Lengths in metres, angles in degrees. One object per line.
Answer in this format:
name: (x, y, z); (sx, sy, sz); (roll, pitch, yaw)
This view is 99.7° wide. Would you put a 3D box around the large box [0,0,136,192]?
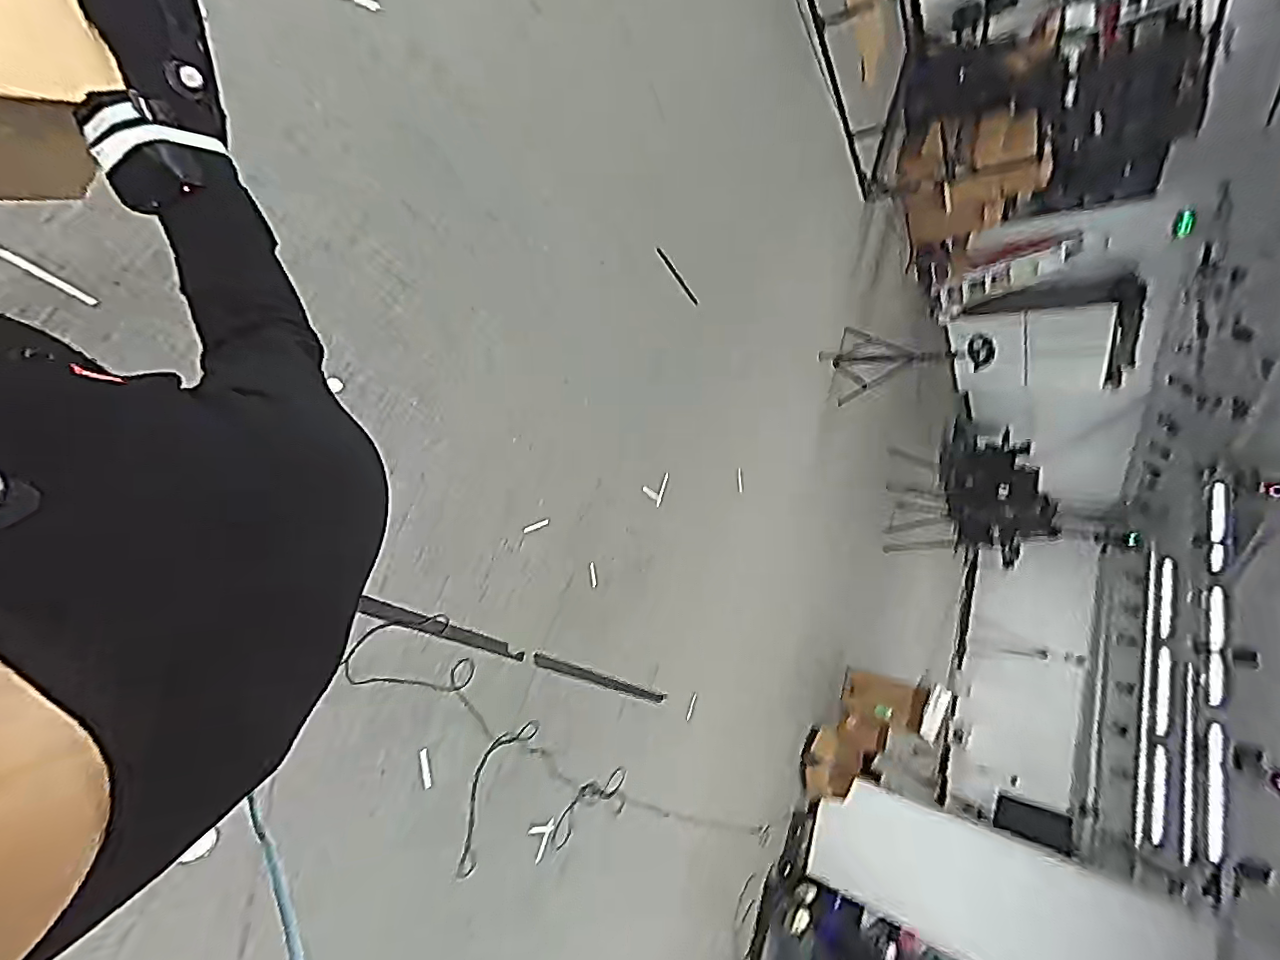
large box: (-0.627, -0.363, 0.300); (0.408, 0.320, 0.320); (-29, 120, -45)
